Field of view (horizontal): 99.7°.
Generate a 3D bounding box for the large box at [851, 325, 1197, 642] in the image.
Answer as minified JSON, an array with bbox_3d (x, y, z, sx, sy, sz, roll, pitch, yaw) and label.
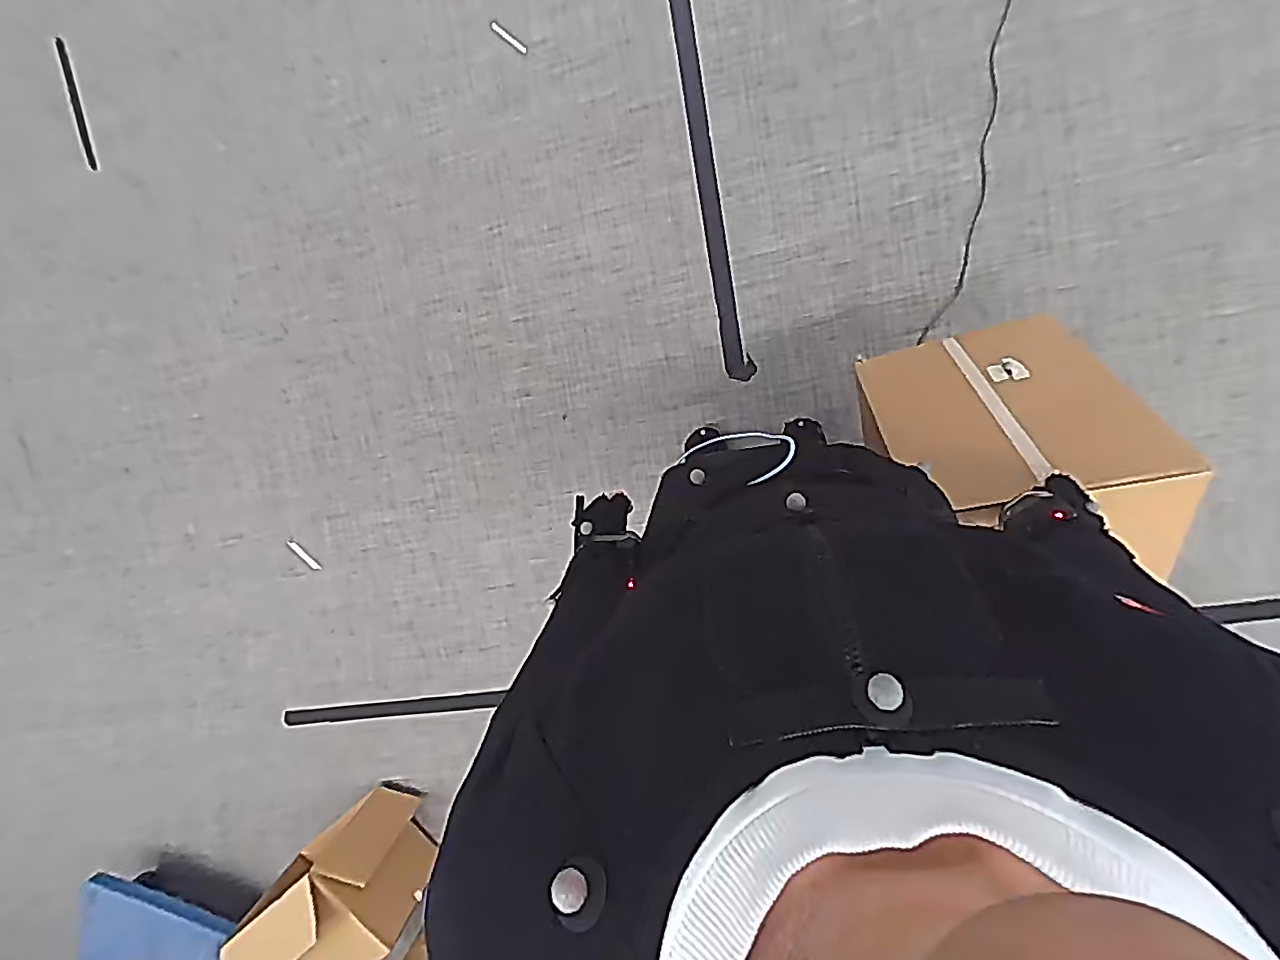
[{"bbox_3d":[0.573,0.001,0.905,0.320,0.408,0.320,-11,128,15],"label":"large box"}]
